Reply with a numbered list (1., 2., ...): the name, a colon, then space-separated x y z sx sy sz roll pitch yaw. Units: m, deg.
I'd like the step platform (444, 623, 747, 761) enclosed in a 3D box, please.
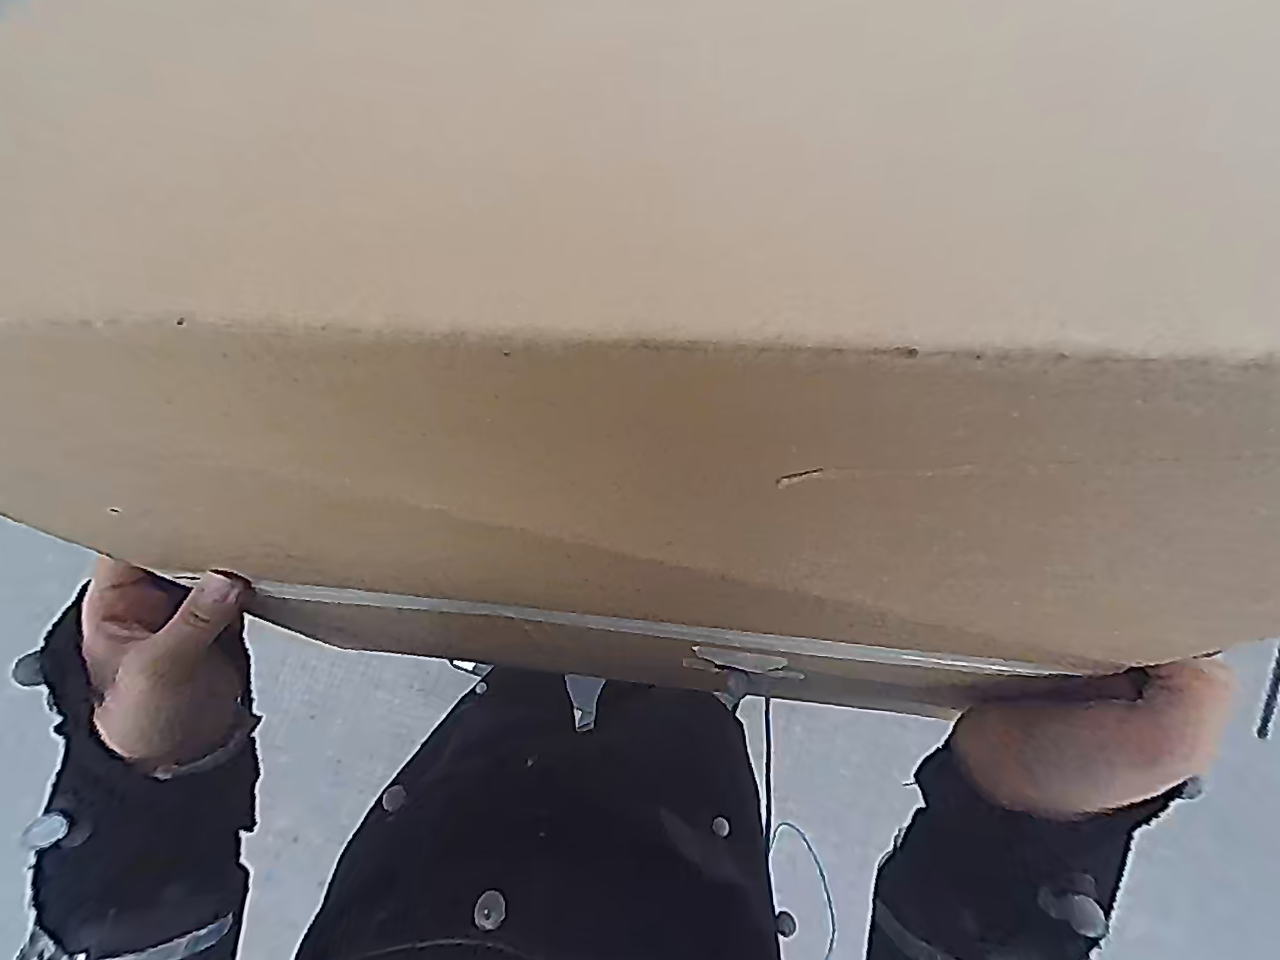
1. step platform: -0.099 0.380 1.277 0.684 0.204 0.286 25 84 -2
